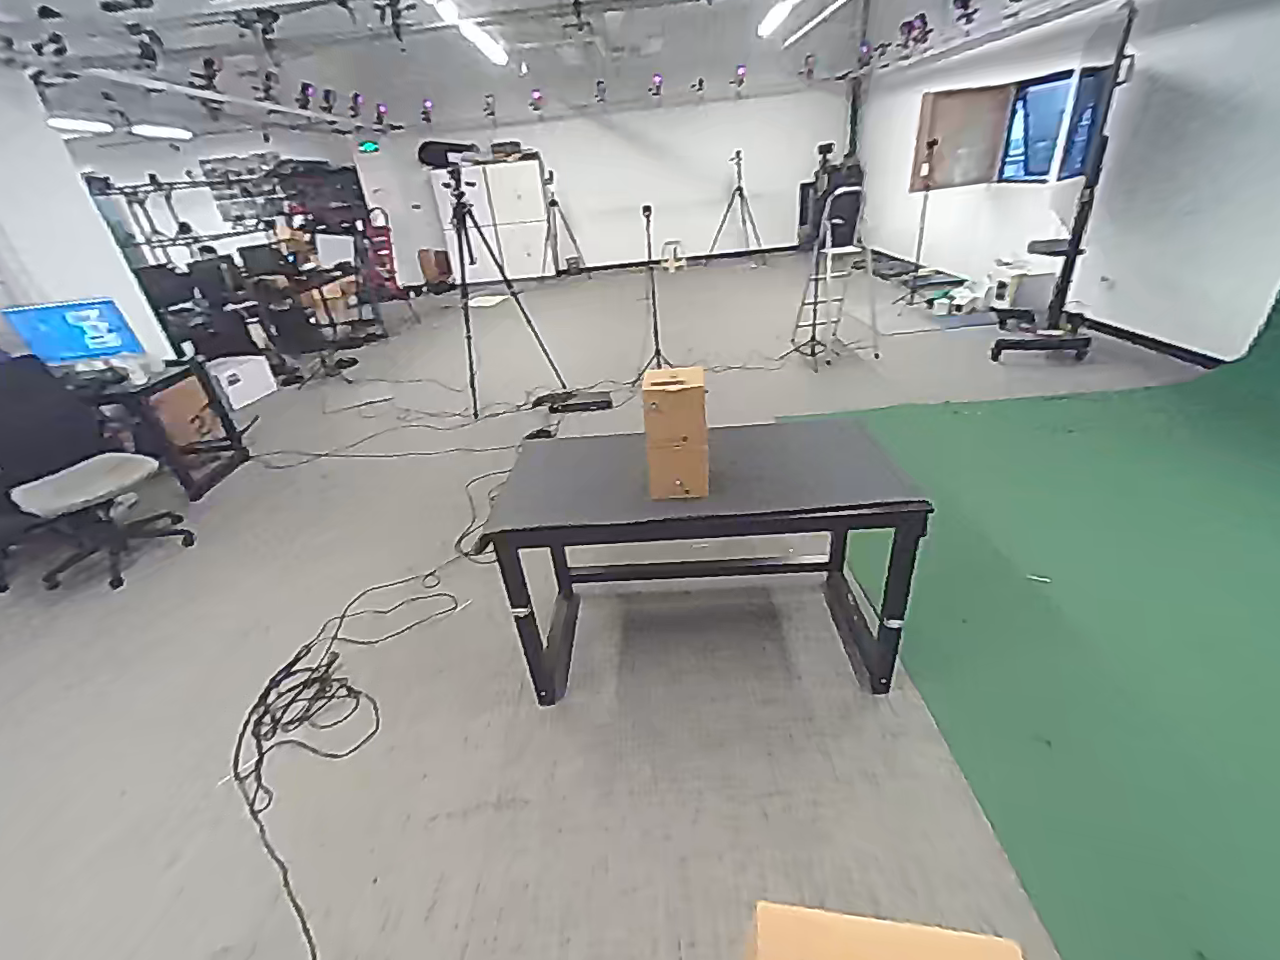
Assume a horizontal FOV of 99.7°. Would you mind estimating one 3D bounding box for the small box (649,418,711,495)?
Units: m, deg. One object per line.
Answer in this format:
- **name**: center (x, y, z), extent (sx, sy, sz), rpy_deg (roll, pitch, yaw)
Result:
- **small box**: center (0.121, -0.070, 1.591), extent (0.168, 0.176, 0.179), rpy_deg (-2, 30, 8)
